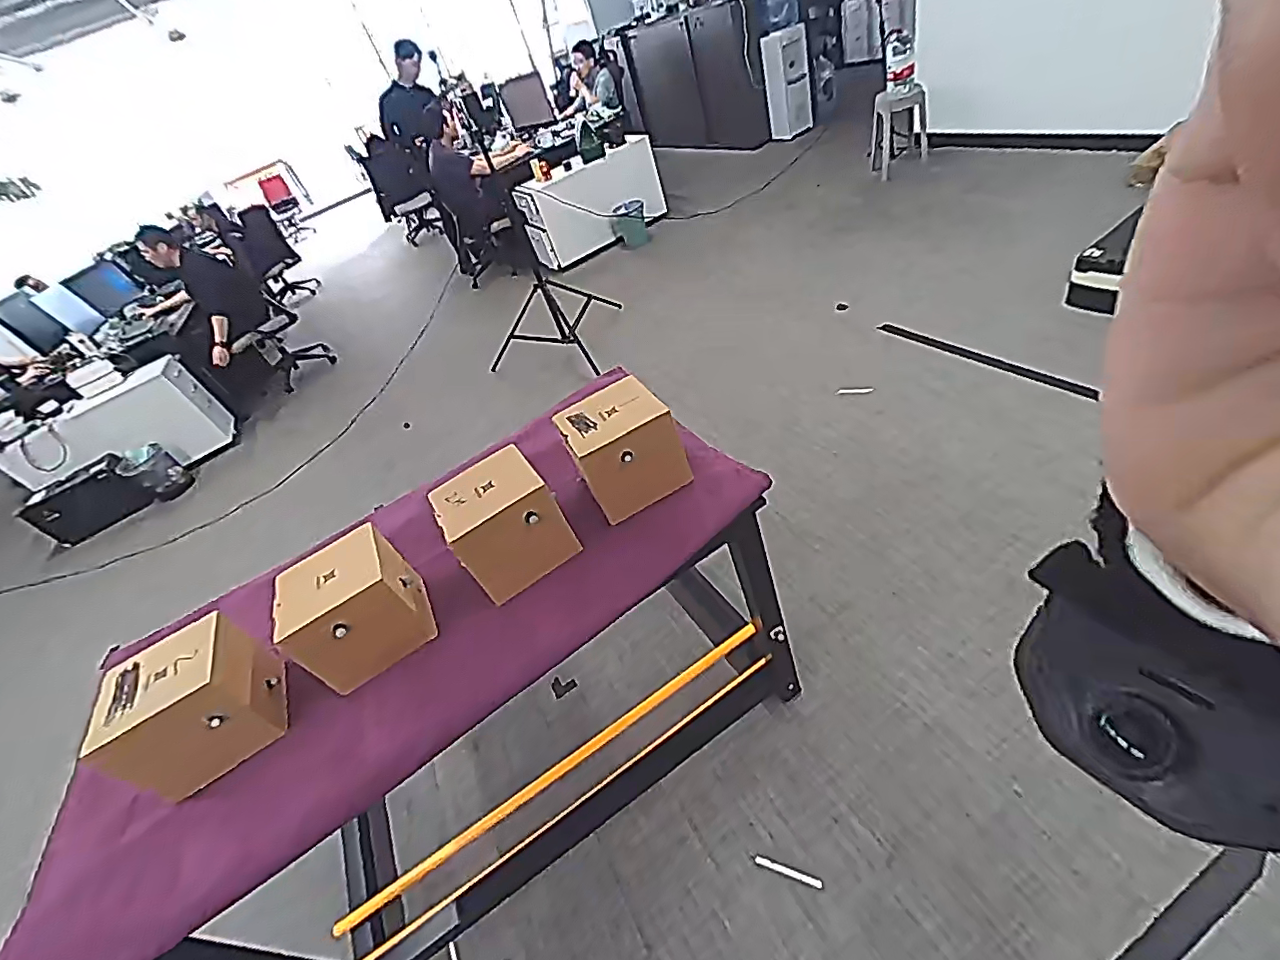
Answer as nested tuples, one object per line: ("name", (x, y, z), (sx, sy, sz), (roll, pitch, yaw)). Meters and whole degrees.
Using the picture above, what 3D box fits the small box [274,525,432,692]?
("small box", (-0.474, 0.216, 0.913), (0.179, 0.176, 0.168), (-33, 41, -11))

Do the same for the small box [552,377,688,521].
("small box", (-0.035, -0.055, 0.998), (0.179, 0.176, 0.168), (-29, 39, -8))

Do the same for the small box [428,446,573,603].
("small box", (-0.236, 0.077, 0.949), (0.179, 0.176, 0.168), (-33, 39, -12))
